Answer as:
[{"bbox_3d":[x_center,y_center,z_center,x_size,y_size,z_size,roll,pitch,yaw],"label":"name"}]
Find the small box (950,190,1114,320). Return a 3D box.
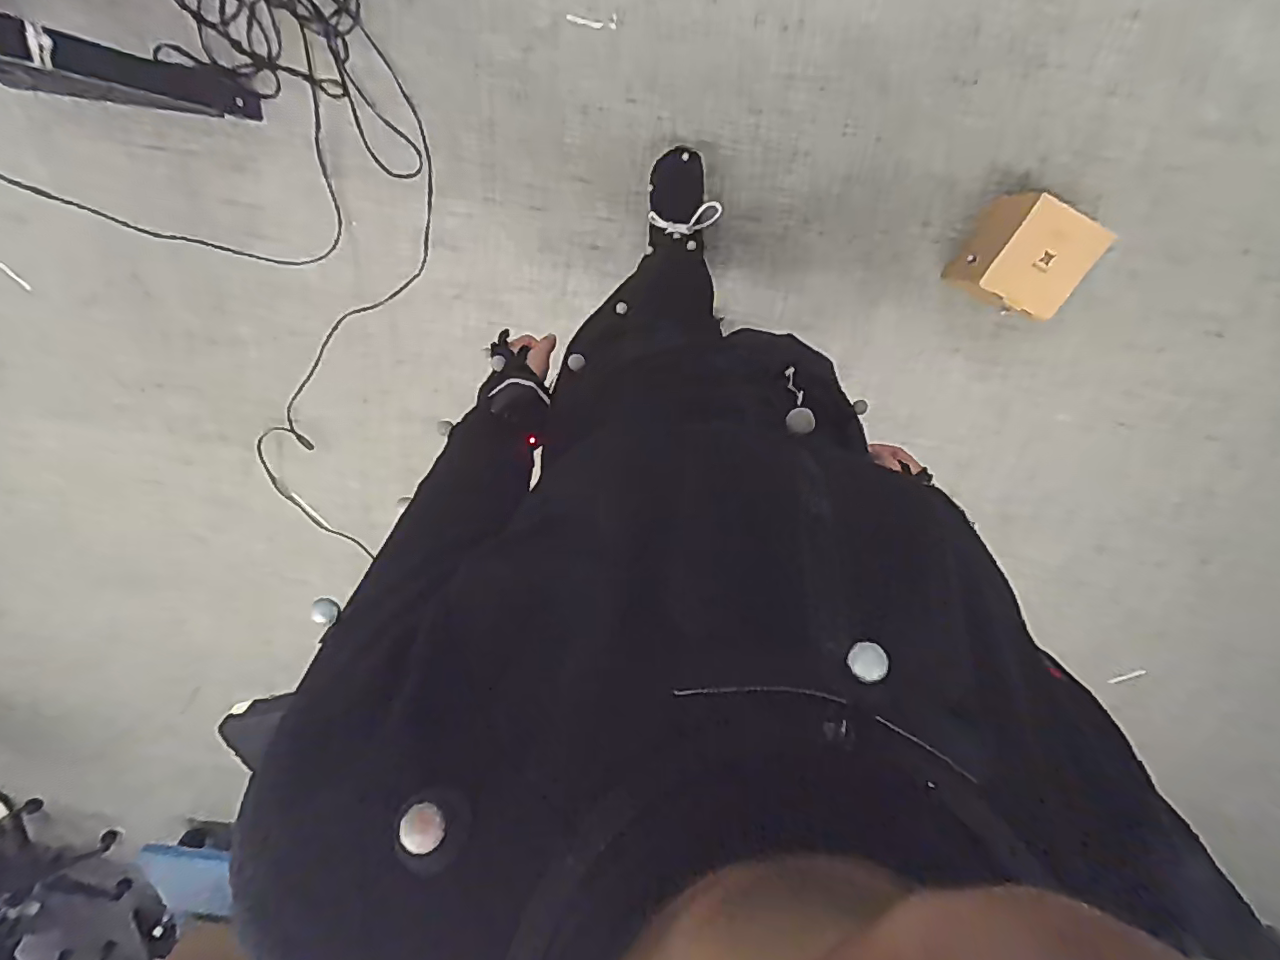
[{"bbox_3d":[0.754,-0.442,1.070,0.168,0.176,0.179,24,113,-6],"label":"small box"}]
